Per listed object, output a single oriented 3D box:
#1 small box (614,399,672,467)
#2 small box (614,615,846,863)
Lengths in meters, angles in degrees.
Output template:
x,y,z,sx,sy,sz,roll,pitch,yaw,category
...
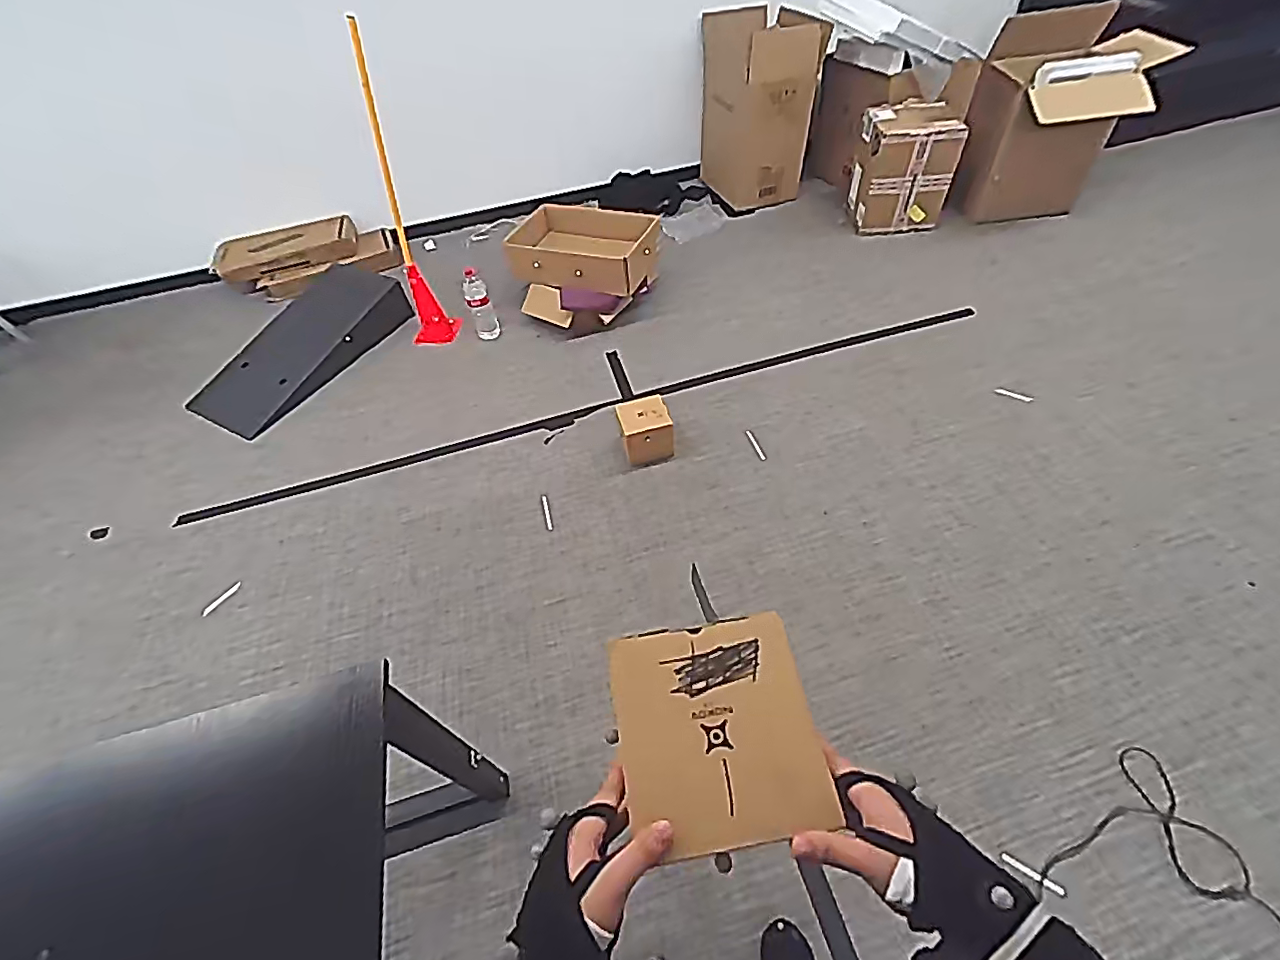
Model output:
x,y,z,sx,sy,sz,roll,pitch,yaw,category
0.014,-0.168,1.987,0.179,0.176,0.168,-14,51,-7,small box
0.067,0.252,0.520,0.168,0.176,0.179,-8,56,-3,small box
